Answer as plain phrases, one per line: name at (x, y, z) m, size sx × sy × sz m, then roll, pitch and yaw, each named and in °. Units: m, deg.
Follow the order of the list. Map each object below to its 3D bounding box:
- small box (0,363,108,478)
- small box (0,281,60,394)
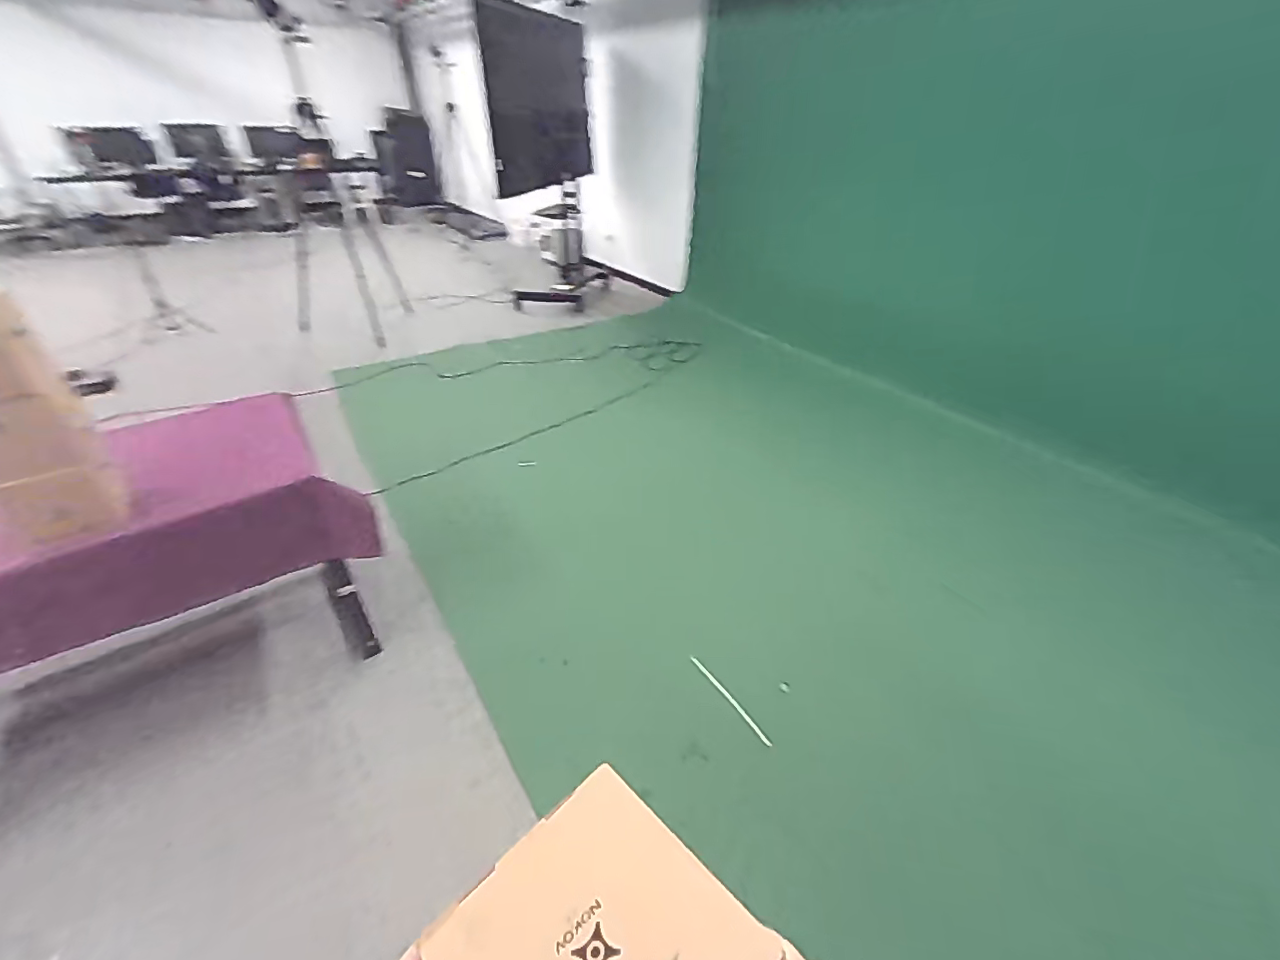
small box at (-1.262, -0.122, 1.115) m, size 0.179 × 0.176 × 0.168 m, roll -19°, pitch 40°, yaw -28°
small box at (-1.264, -0.260, 1.026) m, size 0.168 × 0.176 × 0.179 m, roll -20°, pitch 41°, yaw -28°
